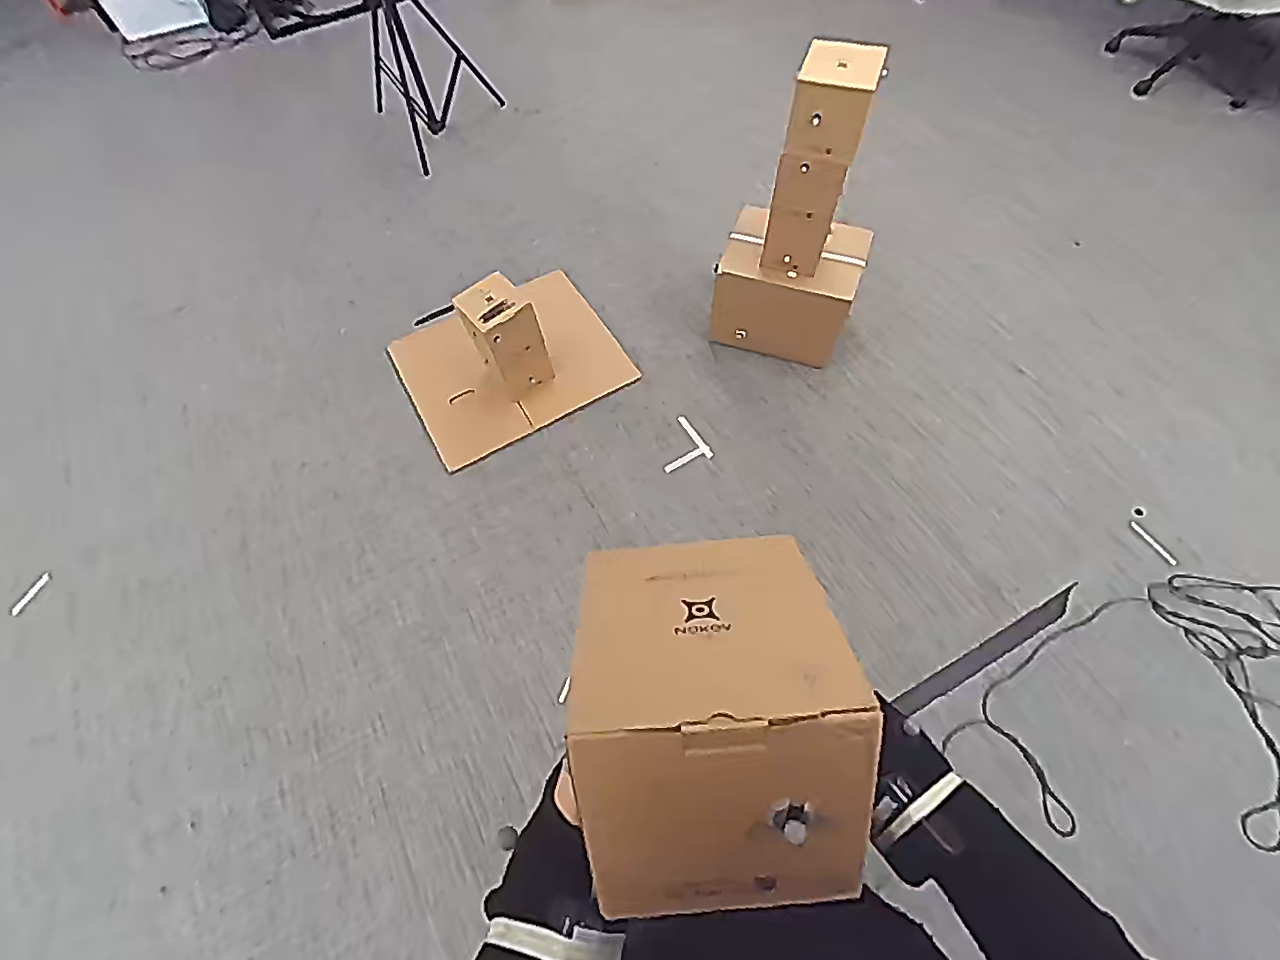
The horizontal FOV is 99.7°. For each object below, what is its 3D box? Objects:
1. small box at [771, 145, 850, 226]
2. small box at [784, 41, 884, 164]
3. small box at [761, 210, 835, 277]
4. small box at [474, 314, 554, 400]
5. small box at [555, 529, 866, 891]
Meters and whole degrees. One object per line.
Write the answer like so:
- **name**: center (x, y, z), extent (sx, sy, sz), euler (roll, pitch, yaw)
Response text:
- **small box**: center (0.445, -0.794, 1.395), extent (0.168, 0.176, 0.179), euler (17, 64, 11)
- **small box**: center (0.441, -0.866, 1.249), extent (0.168, 0.176, 0.179), euler (17, 64, 11)
- **small box**: center (0.451, -0.717, 1.540), extent (0.168, 0.176, 0.179), euler (17, 65, 11)
- **small box**: center (-0.403, -0.394, 1.752), extent (0.168, 0.176, 0.179), euler (-37, 67, -13)
- **small box**: center (0.042, 0.156, 0.385), extent (0.168, 0.176, 0.179), euler (-5, 24, 0)
